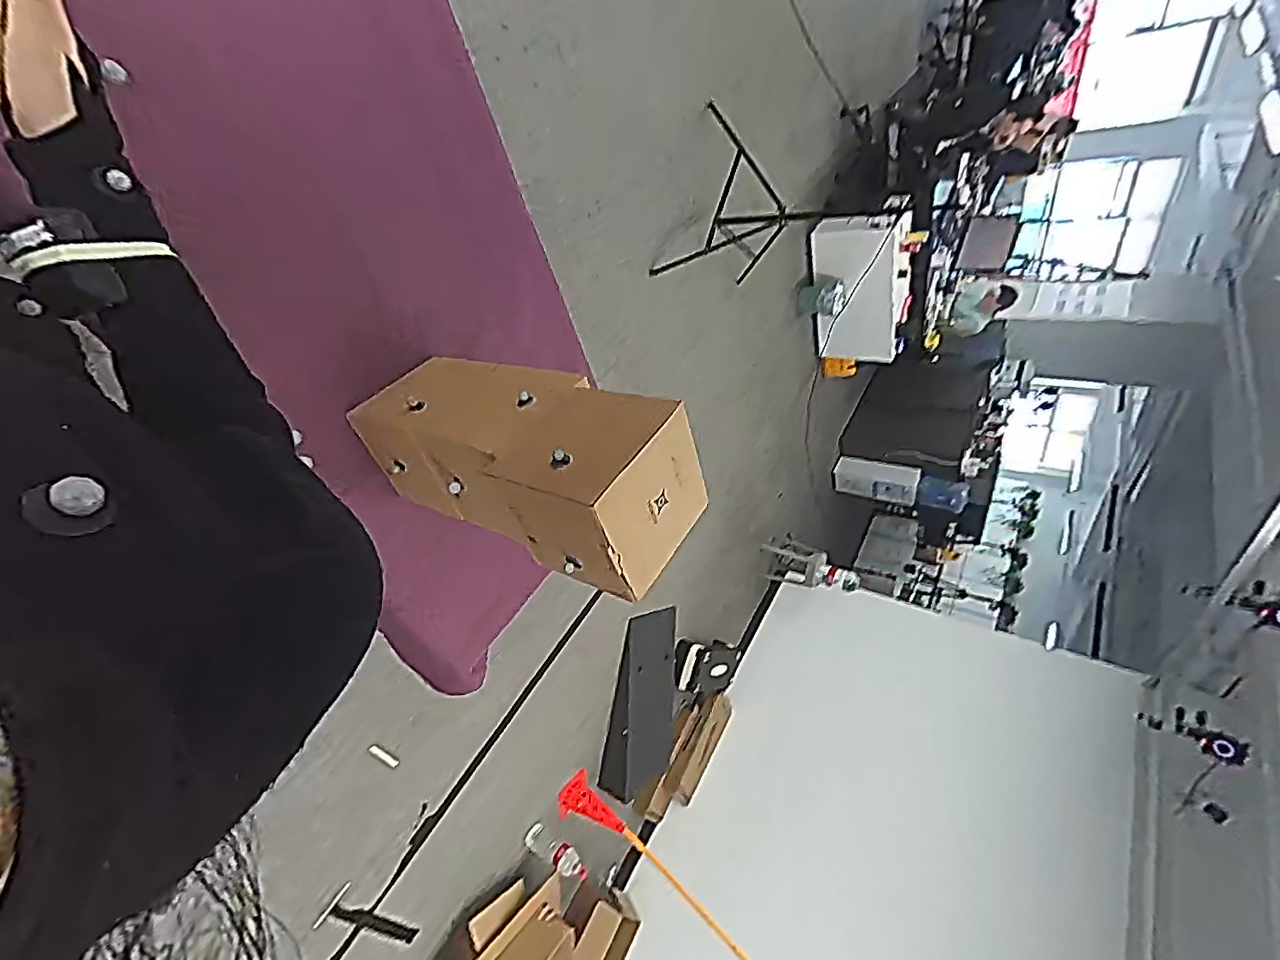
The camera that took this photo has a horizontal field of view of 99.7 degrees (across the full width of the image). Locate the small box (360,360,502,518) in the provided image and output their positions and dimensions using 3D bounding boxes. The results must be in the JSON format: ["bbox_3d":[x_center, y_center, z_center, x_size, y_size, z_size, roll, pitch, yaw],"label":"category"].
[{"bbox_3d":[-0.300,-0.071,0.842,0.179,0.176,0.168,-50,139,-35],"label":"small box"}]

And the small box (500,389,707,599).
[{"bbox_3d":[-0.044,0.008,0.655,0.179,0.176,0.168,-52,140,-32],"label":"small box"}]

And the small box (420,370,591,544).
[{"bbox_3d":[-0.164,-0.040,0.755,0.179,0.176,0.168,-49,137,-34],"label":"small box"}]
